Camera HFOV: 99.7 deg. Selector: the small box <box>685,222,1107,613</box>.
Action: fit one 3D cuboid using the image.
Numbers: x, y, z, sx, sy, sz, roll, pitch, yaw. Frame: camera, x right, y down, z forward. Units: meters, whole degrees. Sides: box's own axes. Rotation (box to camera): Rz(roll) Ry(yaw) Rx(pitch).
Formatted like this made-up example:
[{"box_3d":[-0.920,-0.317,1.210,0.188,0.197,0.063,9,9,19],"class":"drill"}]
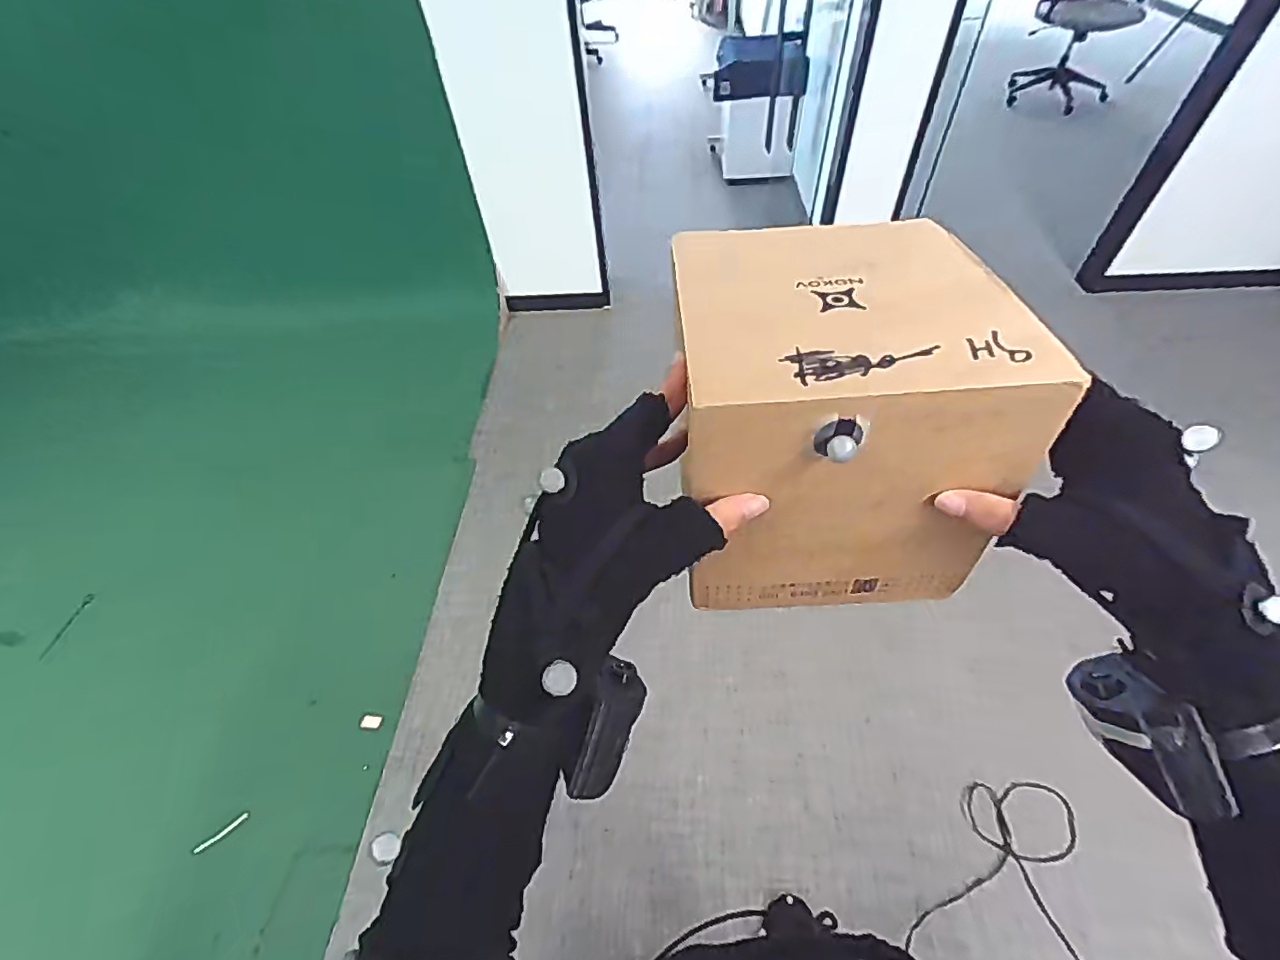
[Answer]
[{"box_3d":[0.114,-0.038,0.337,0.168,0.176,0.179,-4,45,3],"class":"small box"}]
